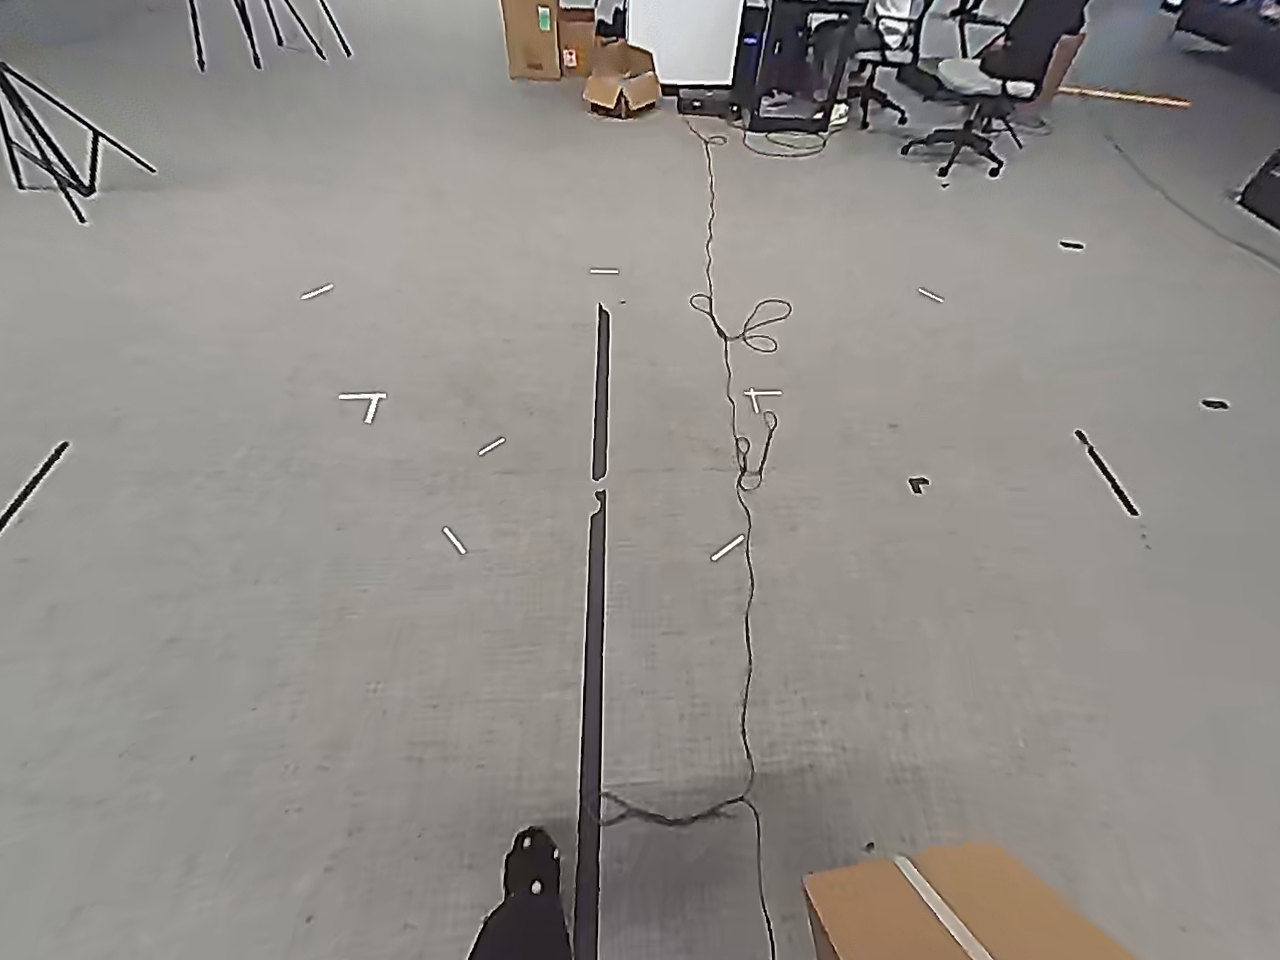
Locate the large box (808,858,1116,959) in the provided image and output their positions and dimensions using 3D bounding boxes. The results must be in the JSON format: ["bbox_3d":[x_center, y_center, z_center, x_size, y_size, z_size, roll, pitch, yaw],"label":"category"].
[{"bbox_3d":[0.433,0.734,0.627,0.320,0.408,0.320,-10,84,-2],"label":"large box"}]
